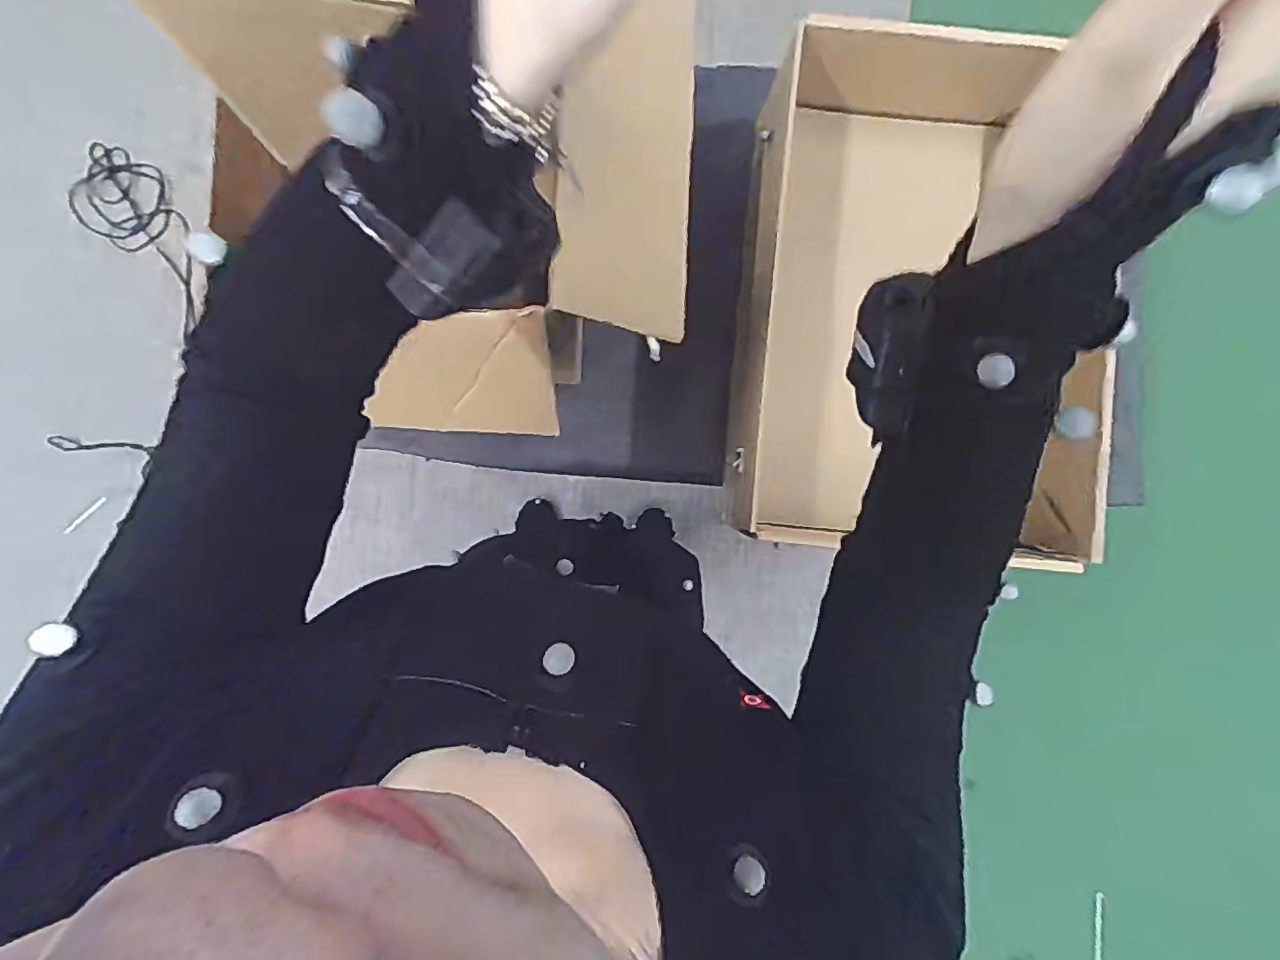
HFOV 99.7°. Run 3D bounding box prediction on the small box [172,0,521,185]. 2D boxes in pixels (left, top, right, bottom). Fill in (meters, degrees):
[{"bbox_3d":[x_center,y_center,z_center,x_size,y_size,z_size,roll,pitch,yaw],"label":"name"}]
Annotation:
[{"bbox_3d":[-0.186,-0.335,0.373,0.179,0.176,0.168,5,87,-6],"label":"small box"}]
